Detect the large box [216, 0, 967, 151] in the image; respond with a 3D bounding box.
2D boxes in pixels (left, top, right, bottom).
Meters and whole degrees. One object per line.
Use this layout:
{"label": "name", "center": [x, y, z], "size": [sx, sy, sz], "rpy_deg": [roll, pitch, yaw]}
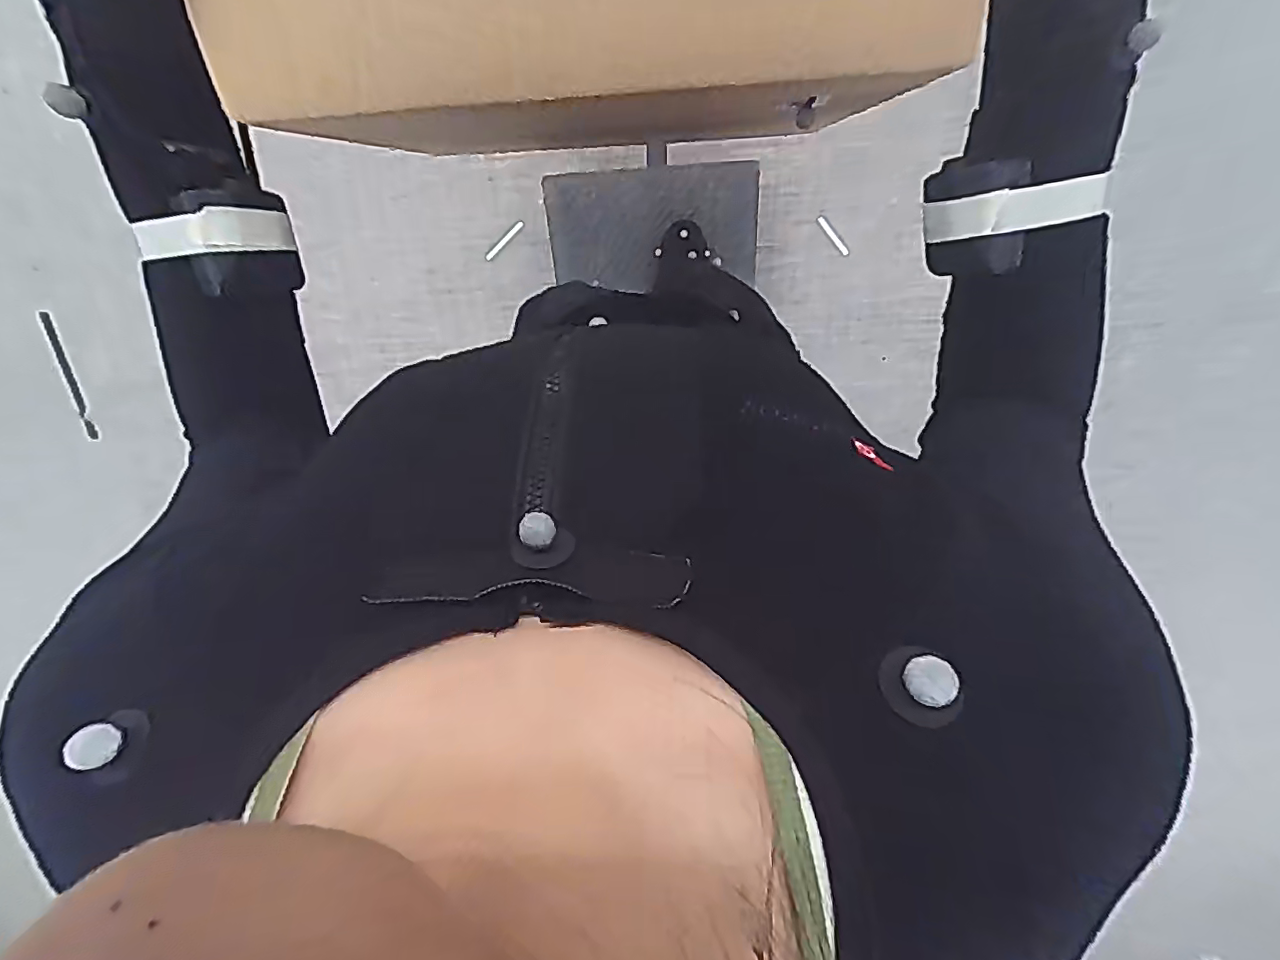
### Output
{"label": "large box", "center": [-0.030, -0.421, 0.363], "size": [0.408, 0.320, 0.320], "rpy_deg": [-2, 117, 4]}
